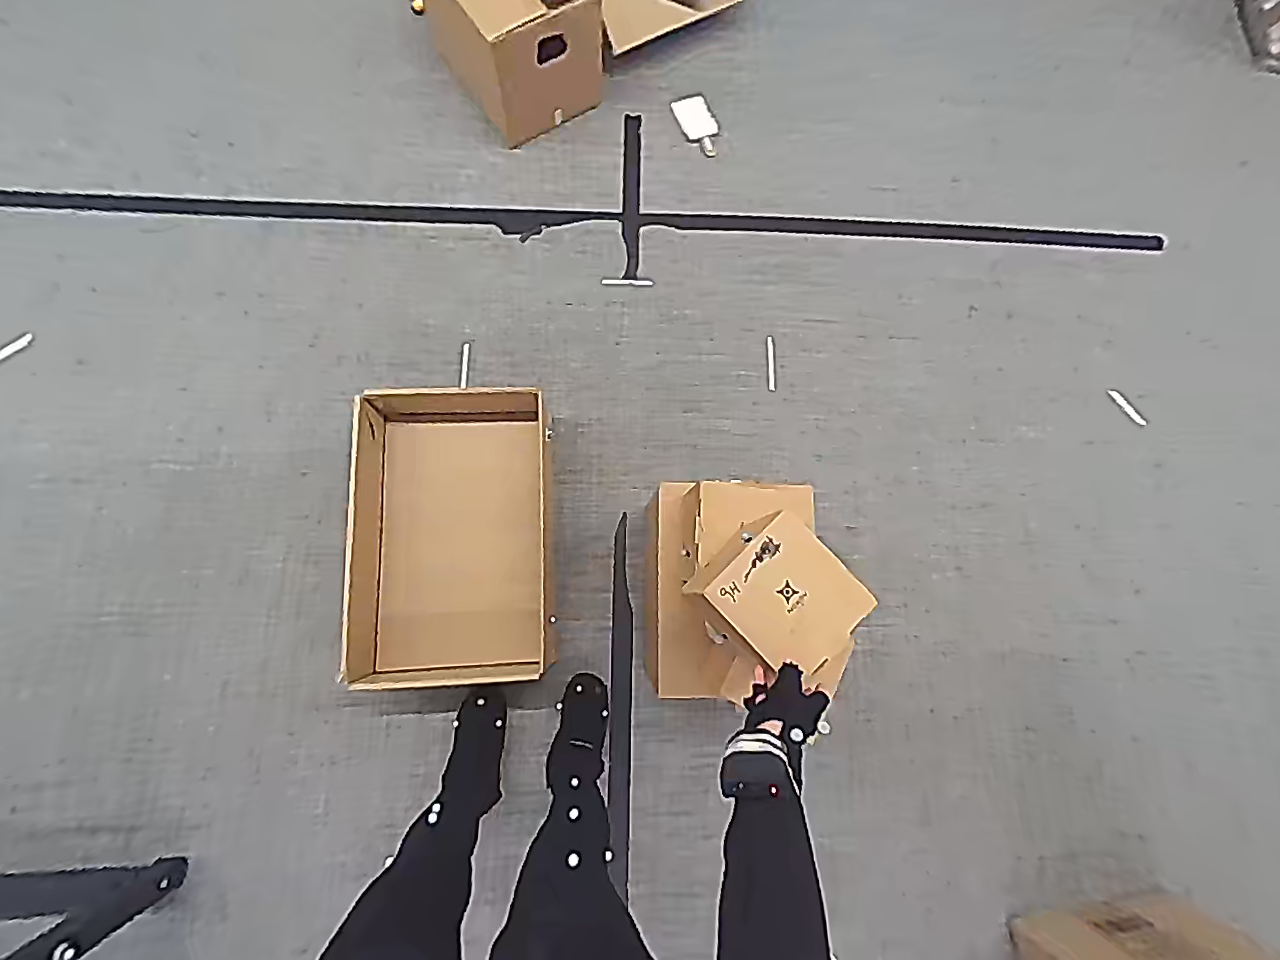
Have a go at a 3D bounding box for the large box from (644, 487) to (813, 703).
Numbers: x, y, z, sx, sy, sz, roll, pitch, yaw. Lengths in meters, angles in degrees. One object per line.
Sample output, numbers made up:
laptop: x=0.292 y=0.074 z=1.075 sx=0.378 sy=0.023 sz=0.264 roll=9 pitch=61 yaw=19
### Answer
large box: x=0.178 y=0.236 z=1.175 sx=0.320 sy=0.320 sz=0.408 roll=0 pitch=80 yaw=-3

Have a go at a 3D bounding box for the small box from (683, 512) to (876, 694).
small box: x=0.186 y=0.168 z=0.773 sx=0.168 sy=0.176 sz=0.179 roll=-42 pitch=86 yaw=-12

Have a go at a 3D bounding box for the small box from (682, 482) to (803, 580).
small box: x=0.172 y=0.102 z=0.953 sx=0.179 sy=0.176 sz=0.168 roll=4 pitch=81 yaw=-4

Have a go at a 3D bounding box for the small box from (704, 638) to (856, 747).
small box: x=0.225 y=0.308 z=0.914 sx=0.168 sy=0.176 sz=0.179 roll=29 pitch=78 yaw=2
